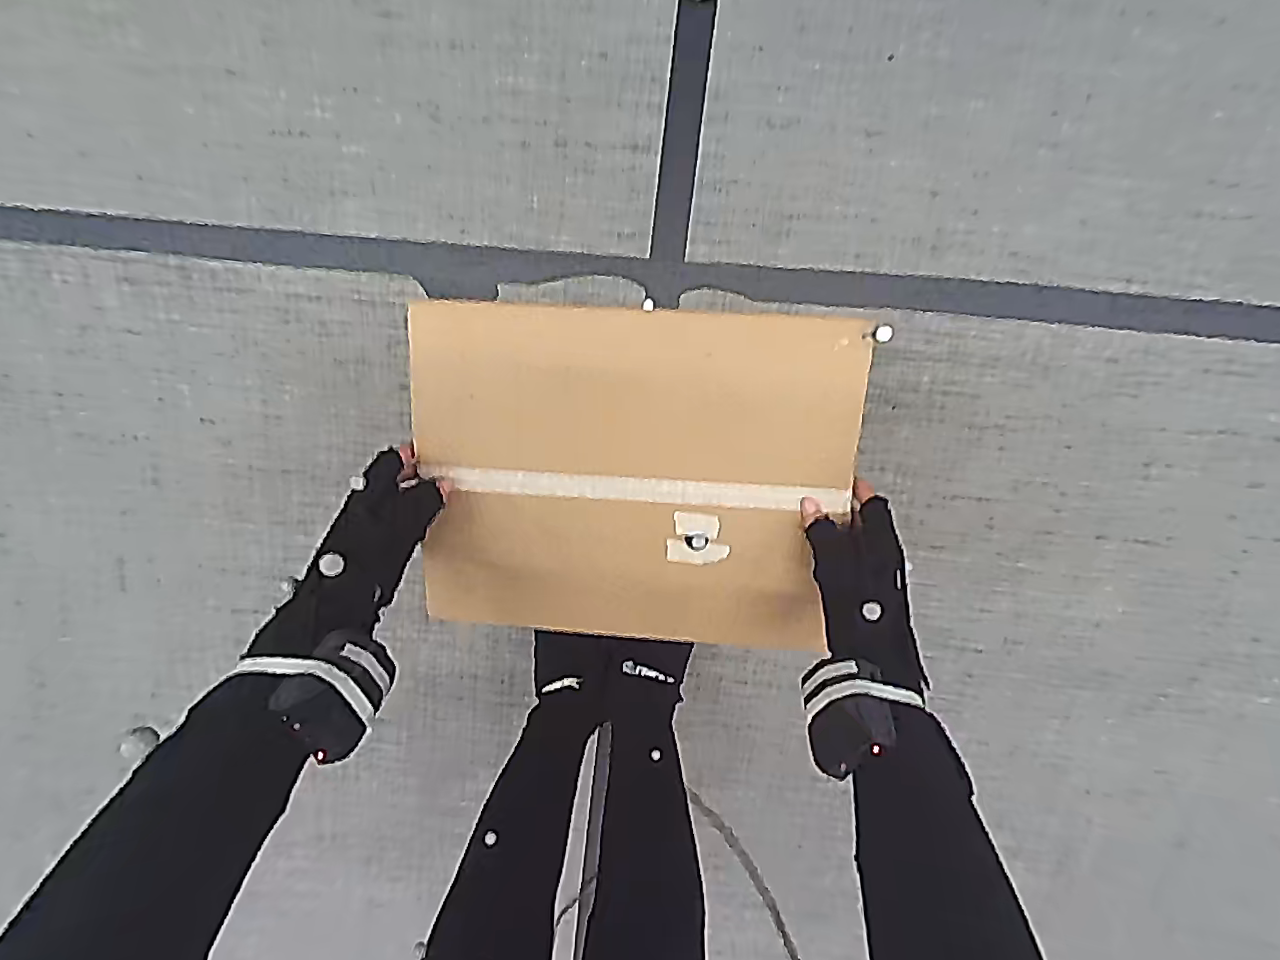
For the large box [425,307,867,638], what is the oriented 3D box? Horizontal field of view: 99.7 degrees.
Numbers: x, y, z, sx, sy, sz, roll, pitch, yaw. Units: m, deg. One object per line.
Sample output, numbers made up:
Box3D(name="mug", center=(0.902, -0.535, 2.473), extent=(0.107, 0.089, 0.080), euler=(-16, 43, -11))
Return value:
Box3D(name="large box", center=(0.005, -0.033, 0.660), extent=(0.408, 0.320, 0.320), euler=(3, 105, 3))
